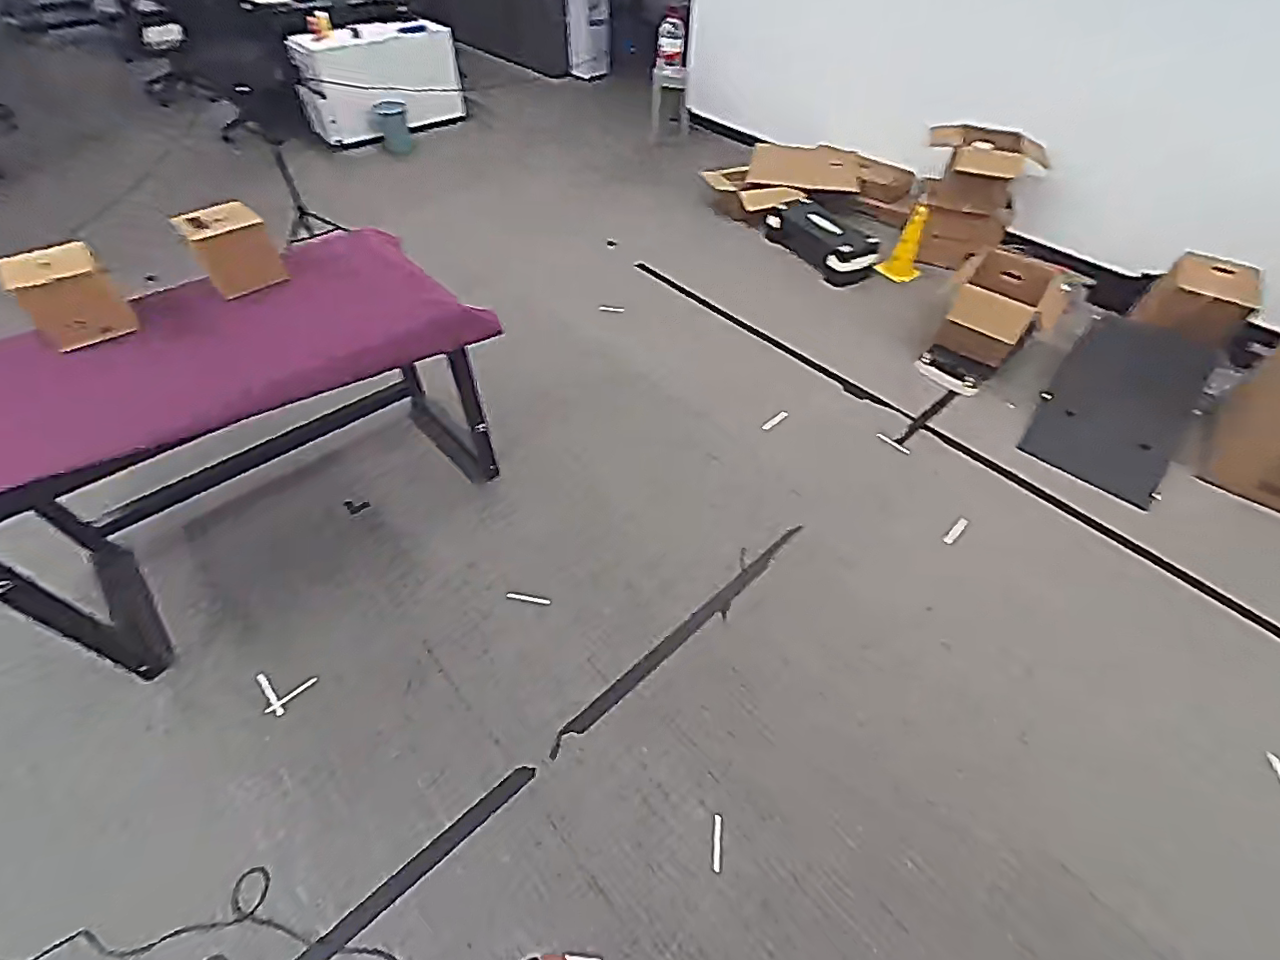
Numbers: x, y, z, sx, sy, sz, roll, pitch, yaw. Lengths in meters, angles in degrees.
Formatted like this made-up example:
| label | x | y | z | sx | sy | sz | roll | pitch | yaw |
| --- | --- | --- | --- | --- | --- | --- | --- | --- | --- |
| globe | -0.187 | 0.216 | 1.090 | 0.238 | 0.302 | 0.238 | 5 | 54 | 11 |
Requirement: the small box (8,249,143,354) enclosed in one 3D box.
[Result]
| label | x | y | z | sx | sy | sz | roll | pitch | yaw |
| --- | --- | --- | --- | --- | --- | --- | --- | --- | --- |
| small box | -1.397 | -0.443 | 1.346 | 0.168 | 0.176 | 0.179 | -32 | 58 | -26 |
